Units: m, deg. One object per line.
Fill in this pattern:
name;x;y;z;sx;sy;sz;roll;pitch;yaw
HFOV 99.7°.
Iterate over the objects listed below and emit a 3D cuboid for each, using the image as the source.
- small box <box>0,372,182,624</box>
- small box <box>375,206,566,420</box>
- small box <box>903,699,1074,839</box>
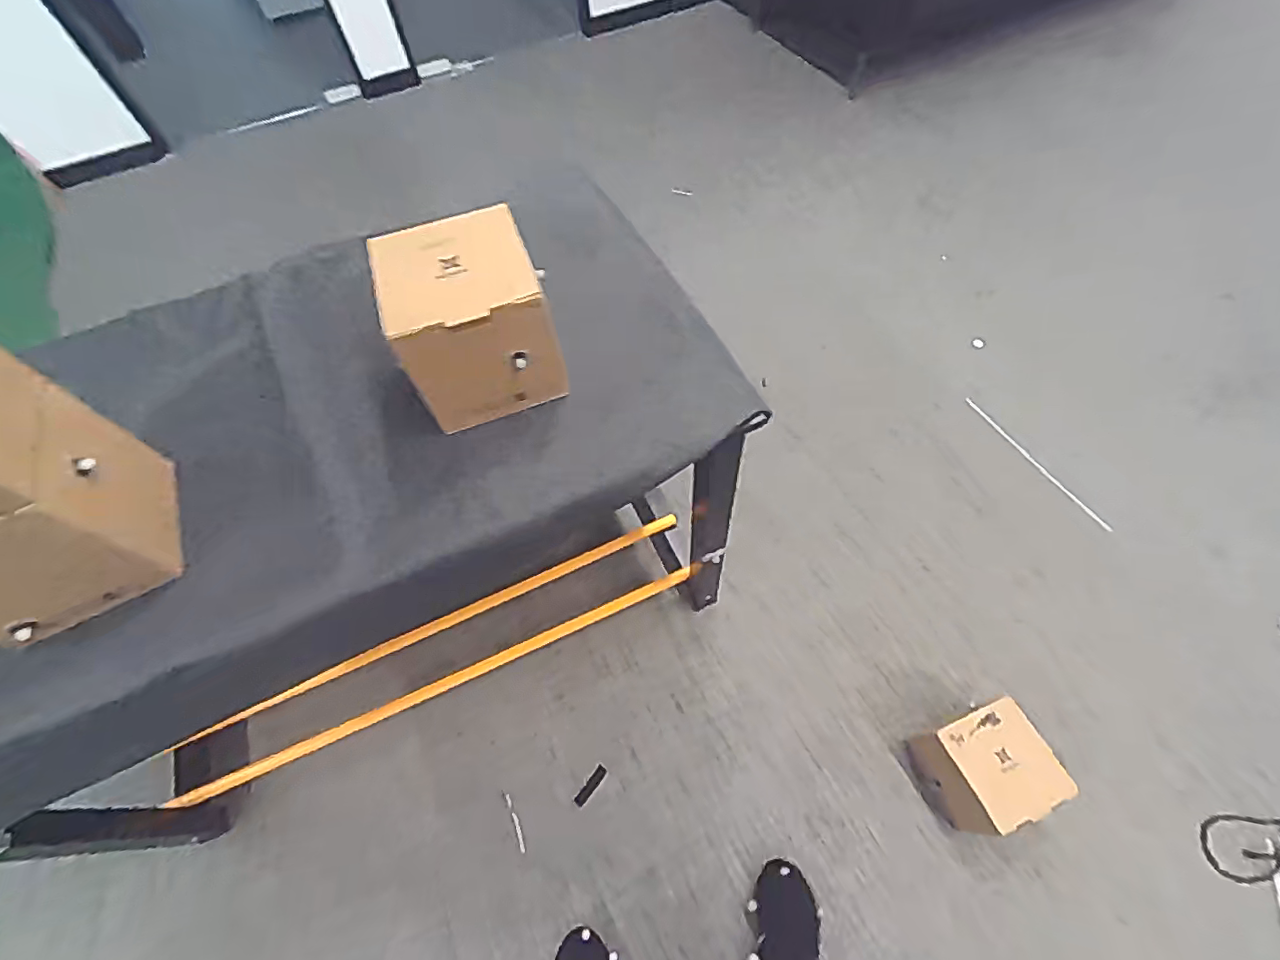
small box;-0.618;0.029;0.556;0.168;0.176;0.179;-26;60;-12
small box;-0.199;-0.194;0.663;0.168;0.176;0.179;-19;59;-9
small box;0.639;0.538;1.017;0.168;0.176;0.179;-20;61;-8
